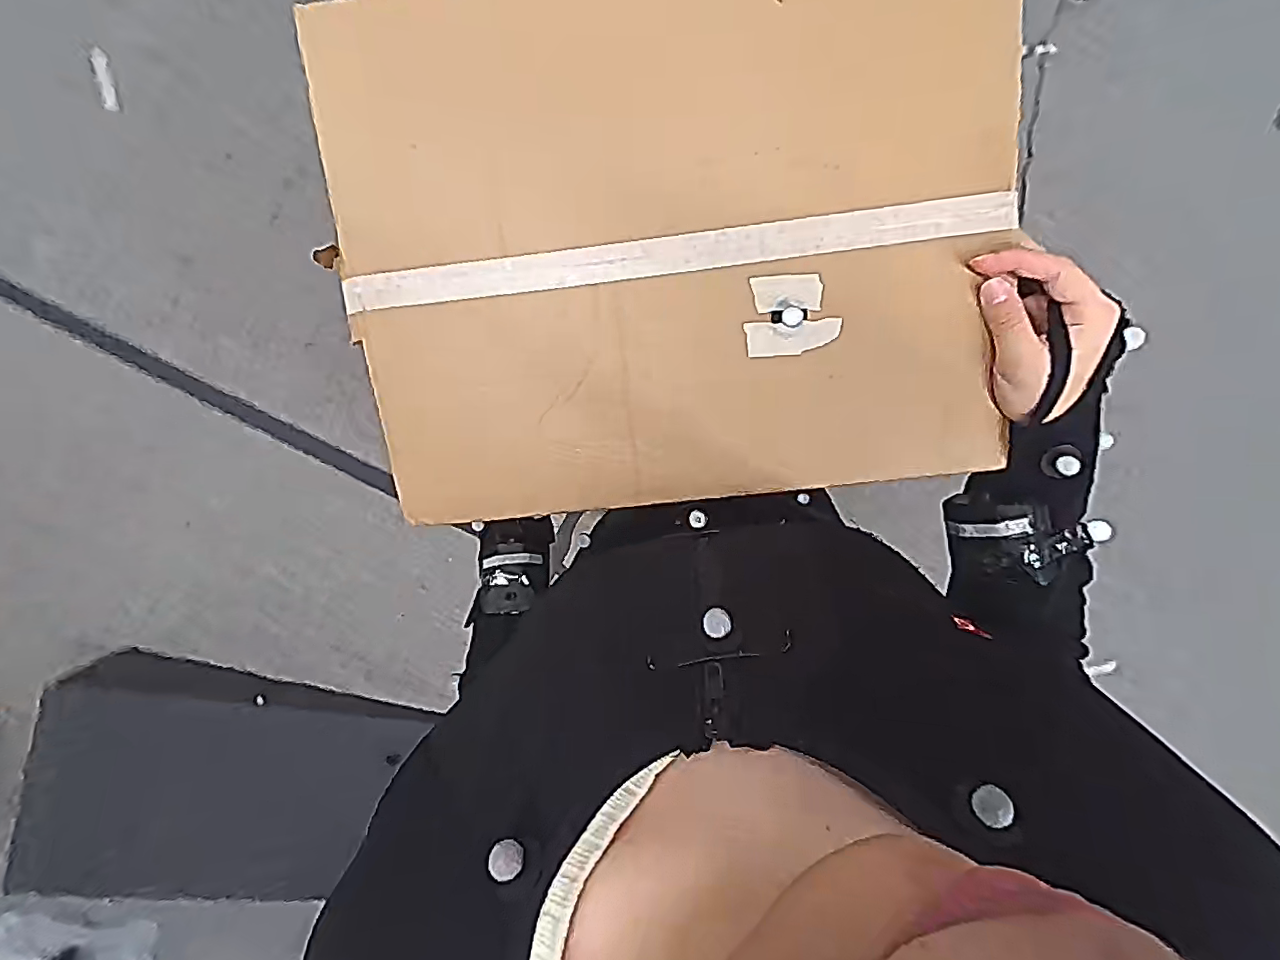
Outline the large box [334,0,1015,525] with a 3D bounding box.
[{"bbox_3d":[0.031,-0.168,0.487,0.408,0.320,0.320,-6,103,2],"label":"large box"}]
